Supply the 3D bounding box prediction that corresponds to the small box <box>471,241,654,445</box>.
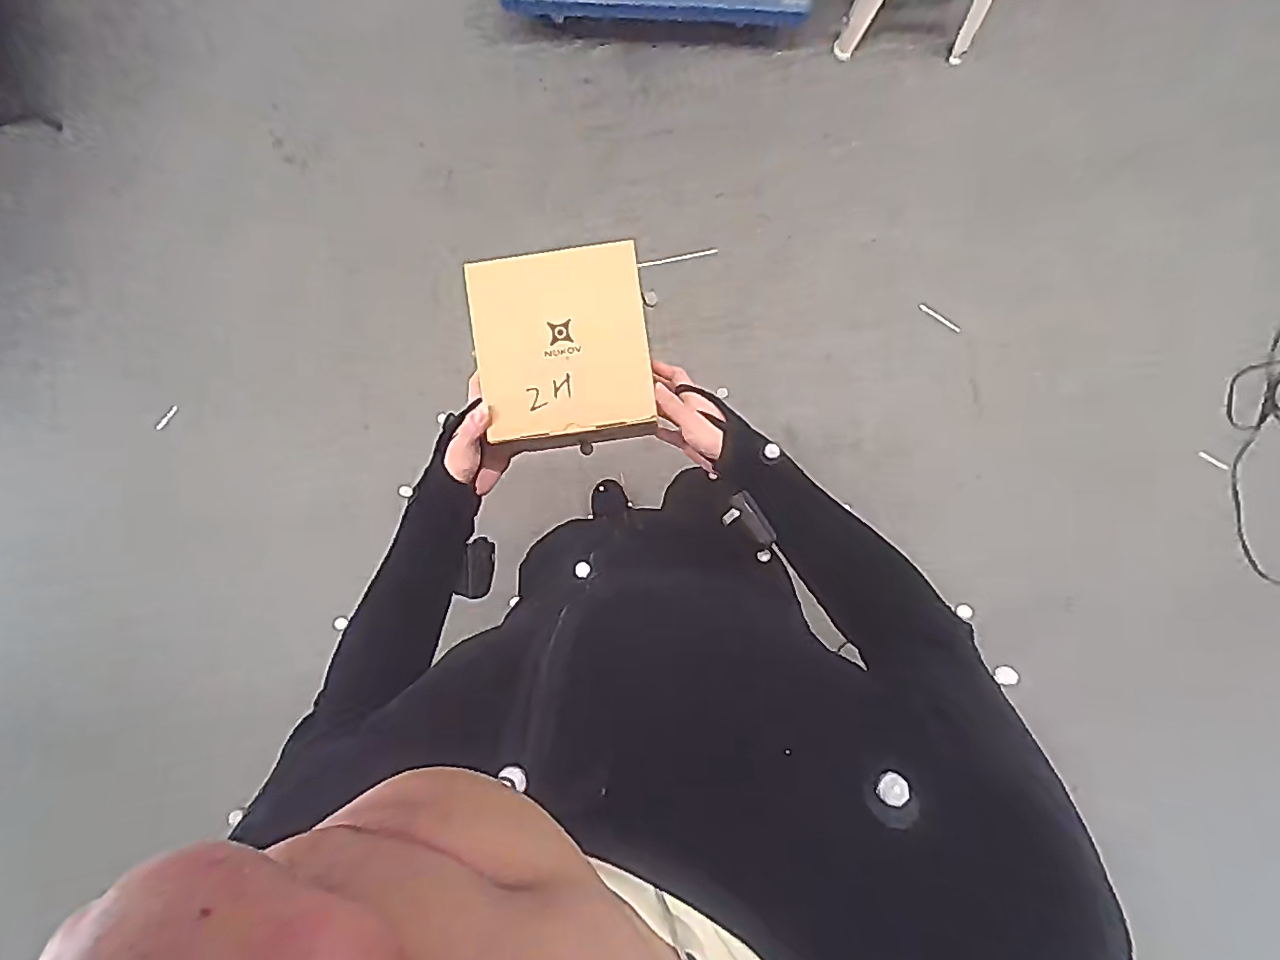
[{"bbox_3d":[-0.076,-0.138,0.605,0.168,0.176,0.179,-7,90,1],"label":"small box"}]
